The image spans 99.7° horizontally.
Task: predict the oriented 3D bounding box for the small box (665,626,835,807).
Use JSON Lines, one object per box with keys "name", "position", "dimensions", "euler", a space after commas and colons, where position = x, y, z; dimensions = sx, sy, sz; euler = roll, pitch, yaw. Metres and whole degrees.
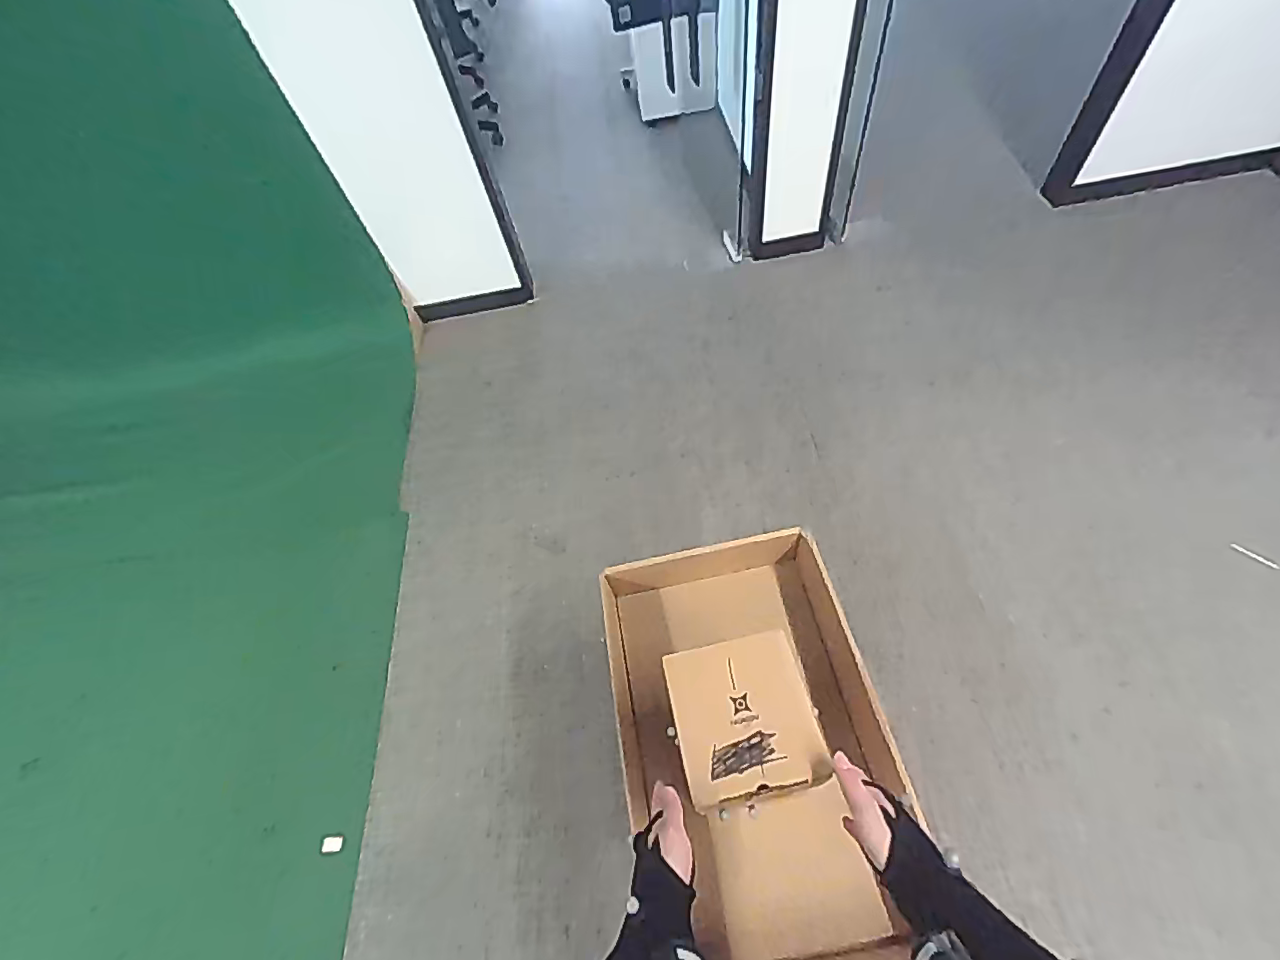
{"name": "small box", "position": [0.137, 0.319, 0.716], "dimensions": [0.168, 0.176, 0.179], "euler": [-13, 55, 0]}
